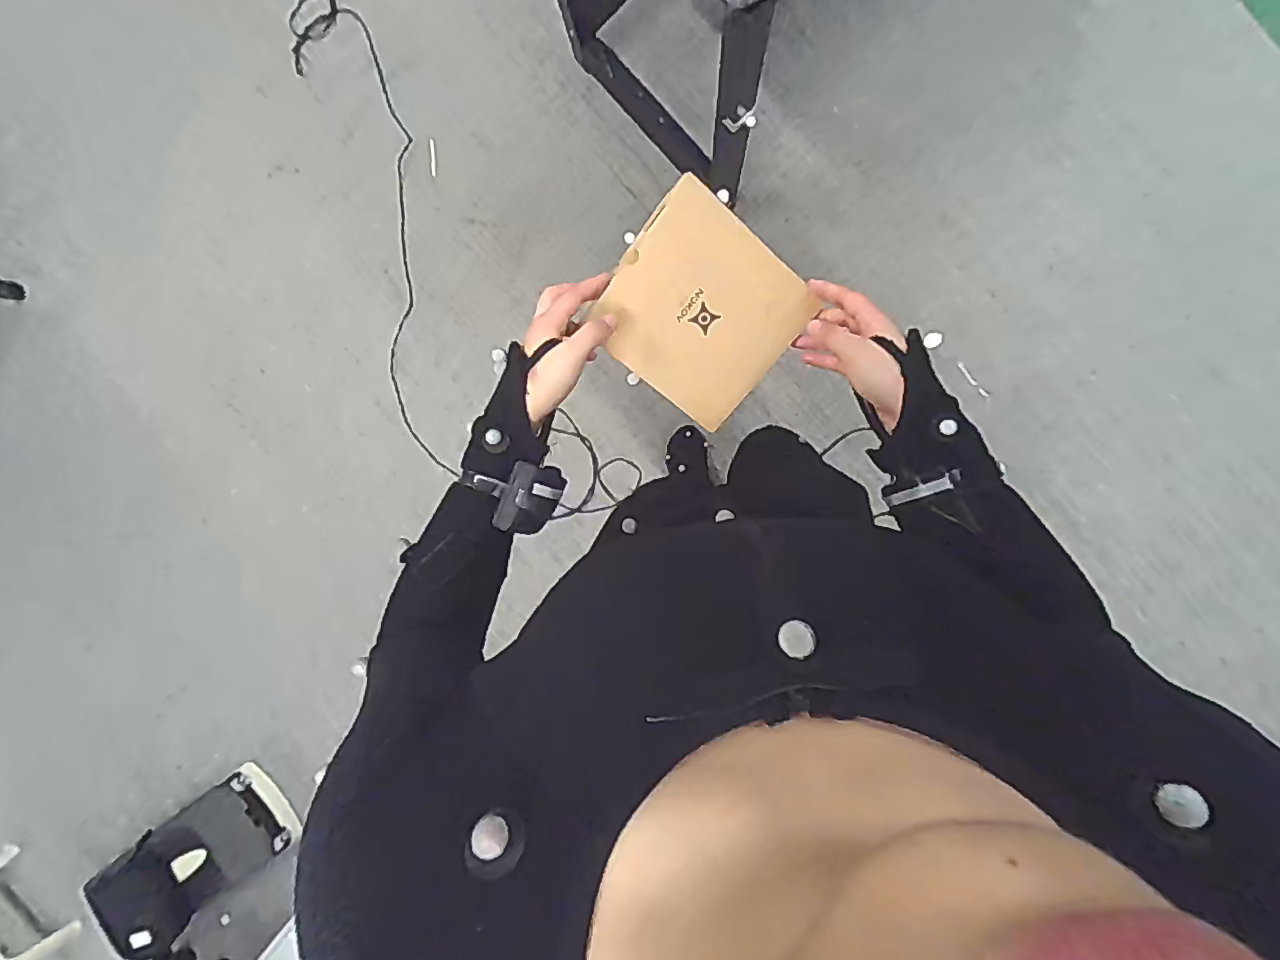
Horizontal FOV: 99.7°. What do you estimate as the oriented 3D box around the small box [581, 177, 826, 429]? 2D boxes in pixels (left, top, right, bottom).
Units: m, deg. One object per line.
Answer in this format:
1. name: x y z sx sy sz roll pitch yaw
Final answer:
1. small box: 0.059 -0.189 0.582 0.179 0.176 0.168 36 107 -15
